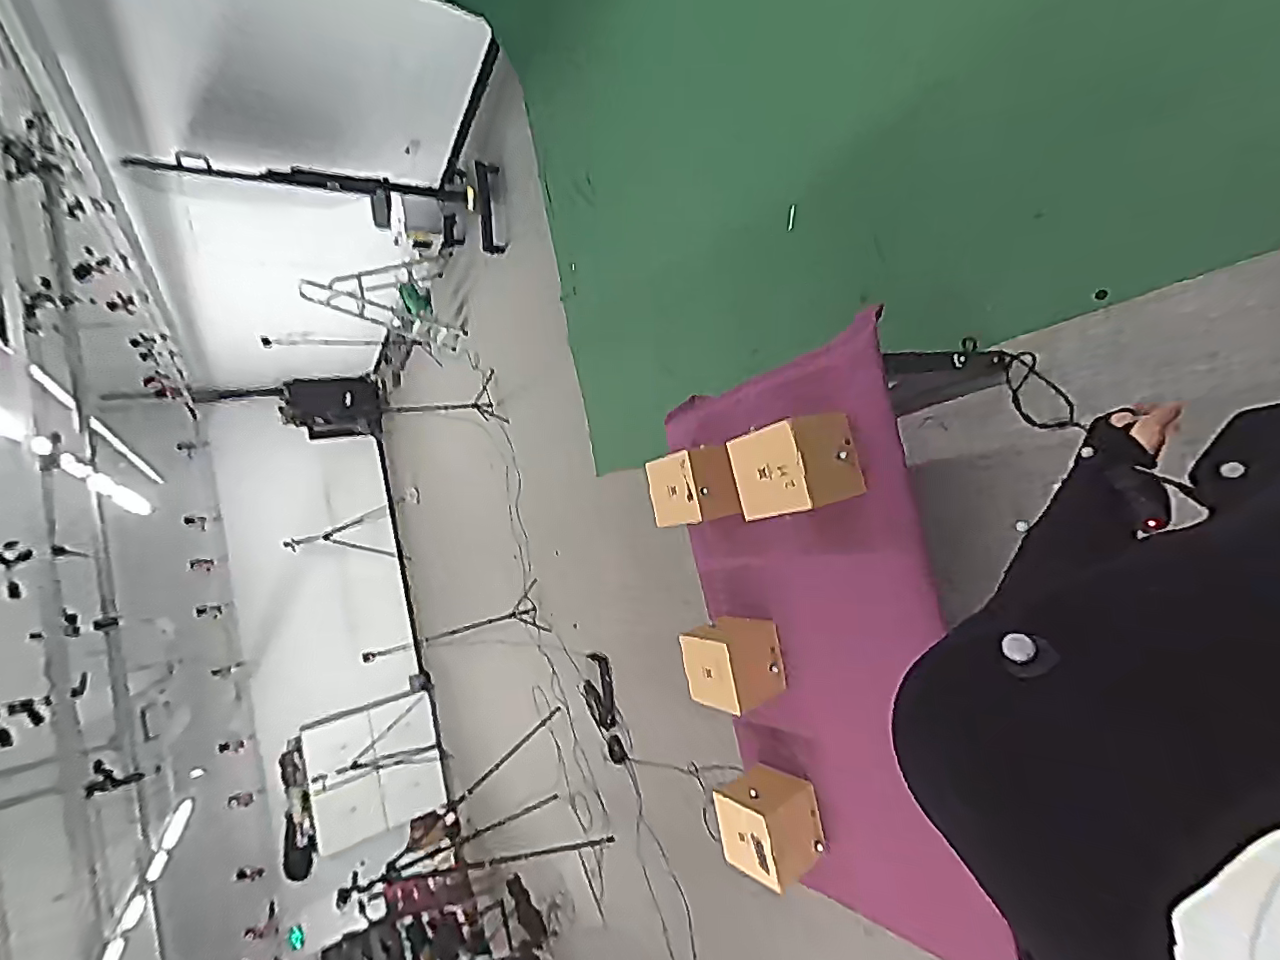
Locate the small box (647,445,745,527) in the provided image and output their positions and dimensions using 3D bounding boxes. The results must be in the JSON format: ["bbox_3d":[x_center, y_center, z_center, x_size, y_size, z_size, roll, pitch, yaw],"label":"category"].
[{"bbox_3d":[0.147,0.015,1.334,0.179,0.176,0.168,-16,87,56],"label":"small box"}]

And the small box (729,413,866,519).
[{"bbox_3d":[0.313,-0.026,1.080,0.179,0.176,0.168,-19,85,55],"label":"small box"}]

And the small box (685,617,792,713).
[{"bbox_3d":[0.240,0.441,1.324,0.179,0.176,0.168,-13,89,55],"label":"small box"}]

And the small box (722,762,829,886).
[{"bbox_3d":[0.329,0.807,1.292,0.179,0.176,0.168,-16,85,55],"label":"small box"}]
